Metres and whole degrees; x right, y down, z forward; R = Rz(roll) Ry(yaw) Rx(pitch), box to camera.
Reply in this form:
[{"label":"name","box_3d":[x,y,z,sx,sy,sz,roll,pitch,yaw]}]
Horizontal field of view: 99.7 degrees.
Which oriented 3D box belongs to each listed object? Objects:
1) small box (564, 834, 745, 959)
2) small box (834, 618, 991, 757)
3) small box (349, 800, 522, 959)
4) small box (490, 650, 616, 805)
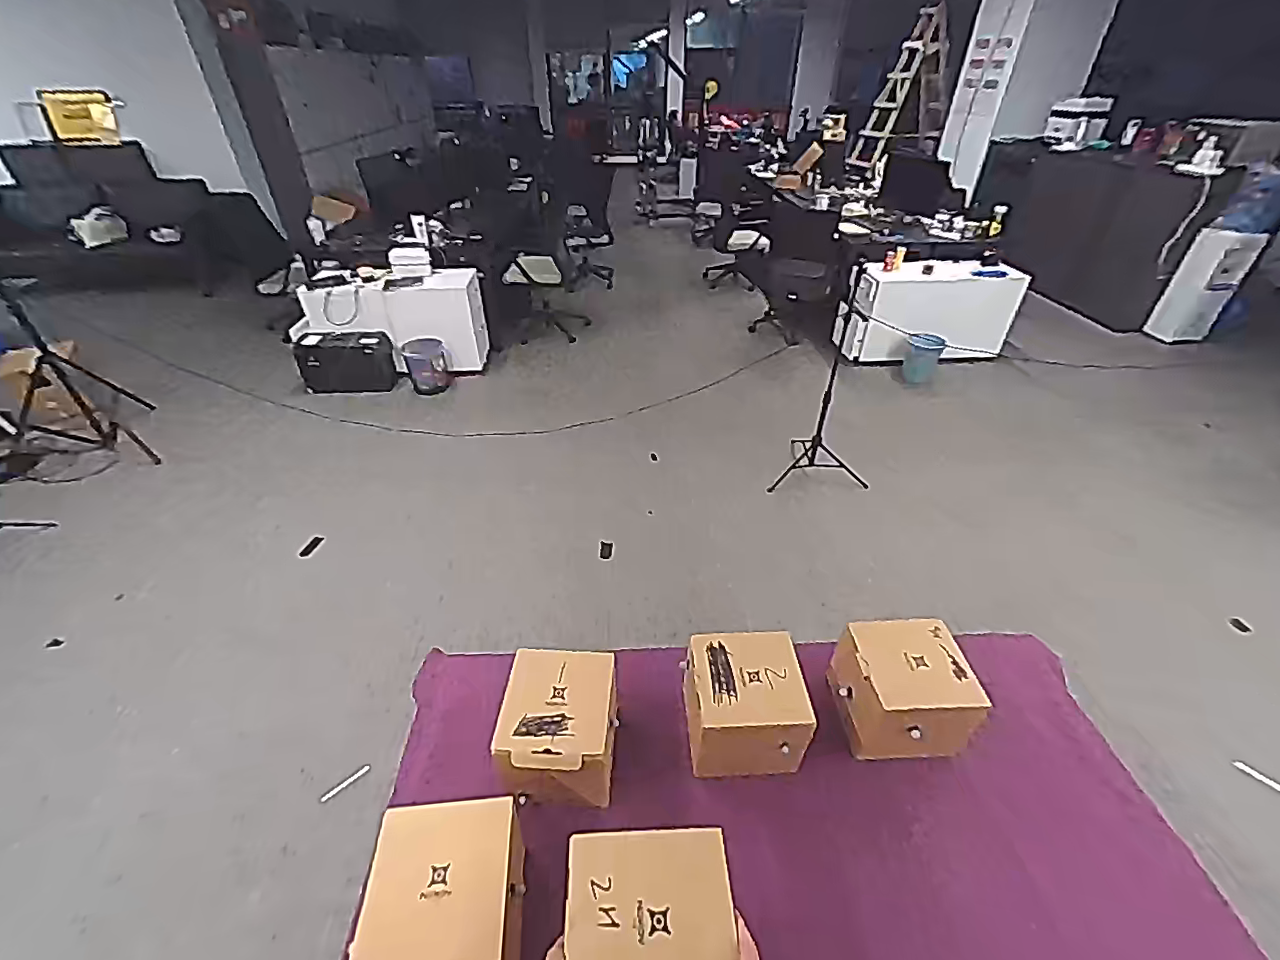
[{"label":"small box","box_3d":[0.011,0.511,0.589,0.179,0.176,0.168,-1,37,-2]},{"label":"small box","box_3d":[0.448,0.359,0.930,0.179,0.176,0.168,-2,40,-1]},{"label":"small box","box_3d":[-0.242,0.540,0.685,0.168,0.176,0.179,-2,38,-7]},{"label":"small box","box_3d":[-0.127,0.401,0.875,0.168,0.176,0.179,2,37,2]}]
